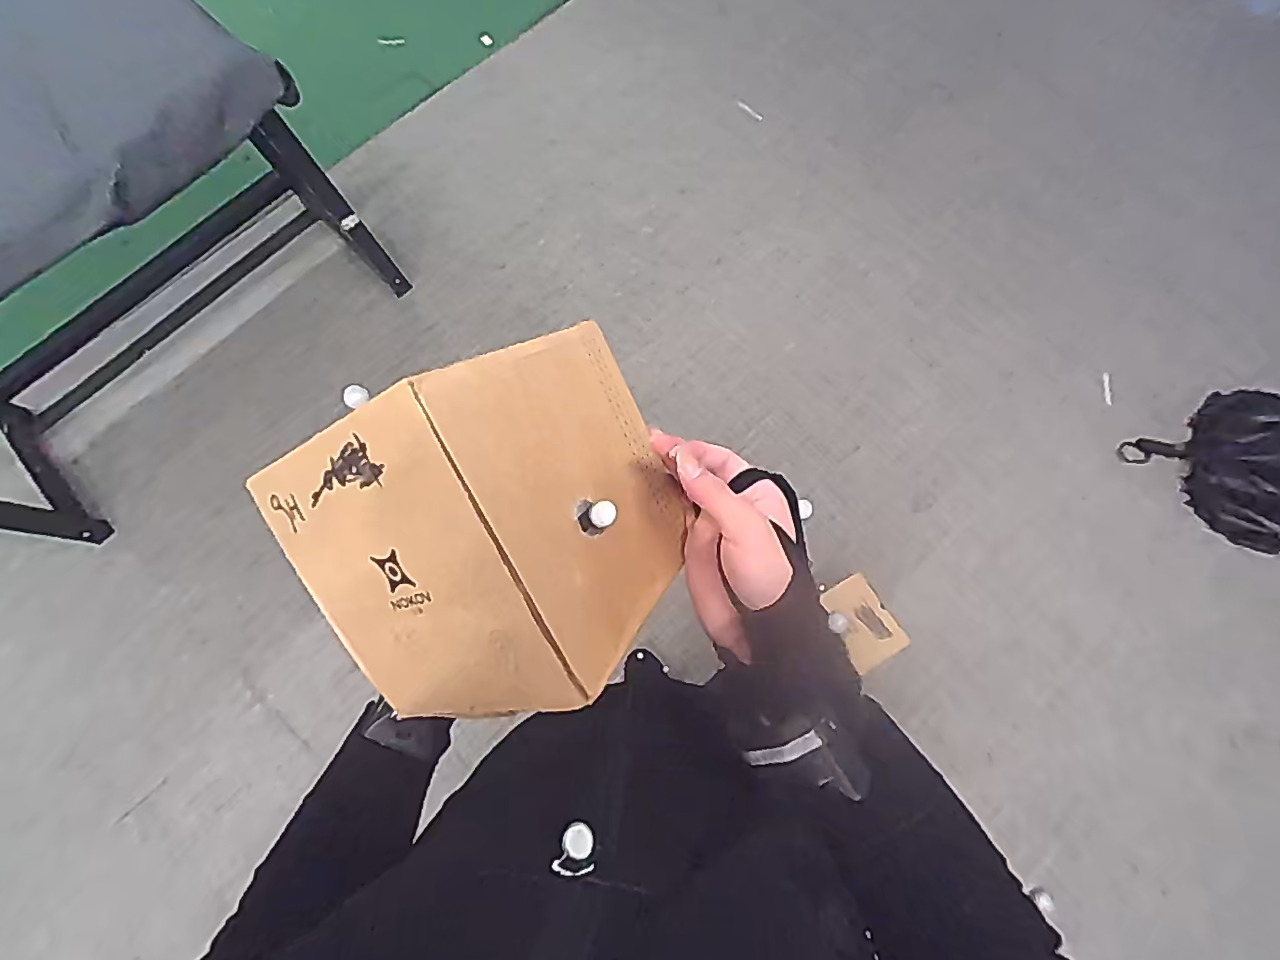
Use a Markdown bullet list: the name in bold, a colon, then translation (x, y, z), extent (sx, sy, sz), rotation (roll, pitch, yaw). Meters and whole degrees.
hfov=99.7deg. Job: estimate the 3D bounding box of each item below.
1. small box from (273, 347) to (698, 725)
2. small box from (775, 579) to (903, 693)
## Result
- **small box**: translation (-0.083, 0.034, 0.361), extent (0.168, 0.176, 0.179), rotation (-18, 105, 32)
- **small box**: translation (0.416, 0.334, 1.165), extent (0.179, 0.176, 0.168), rotation (-30, 73, -5)
